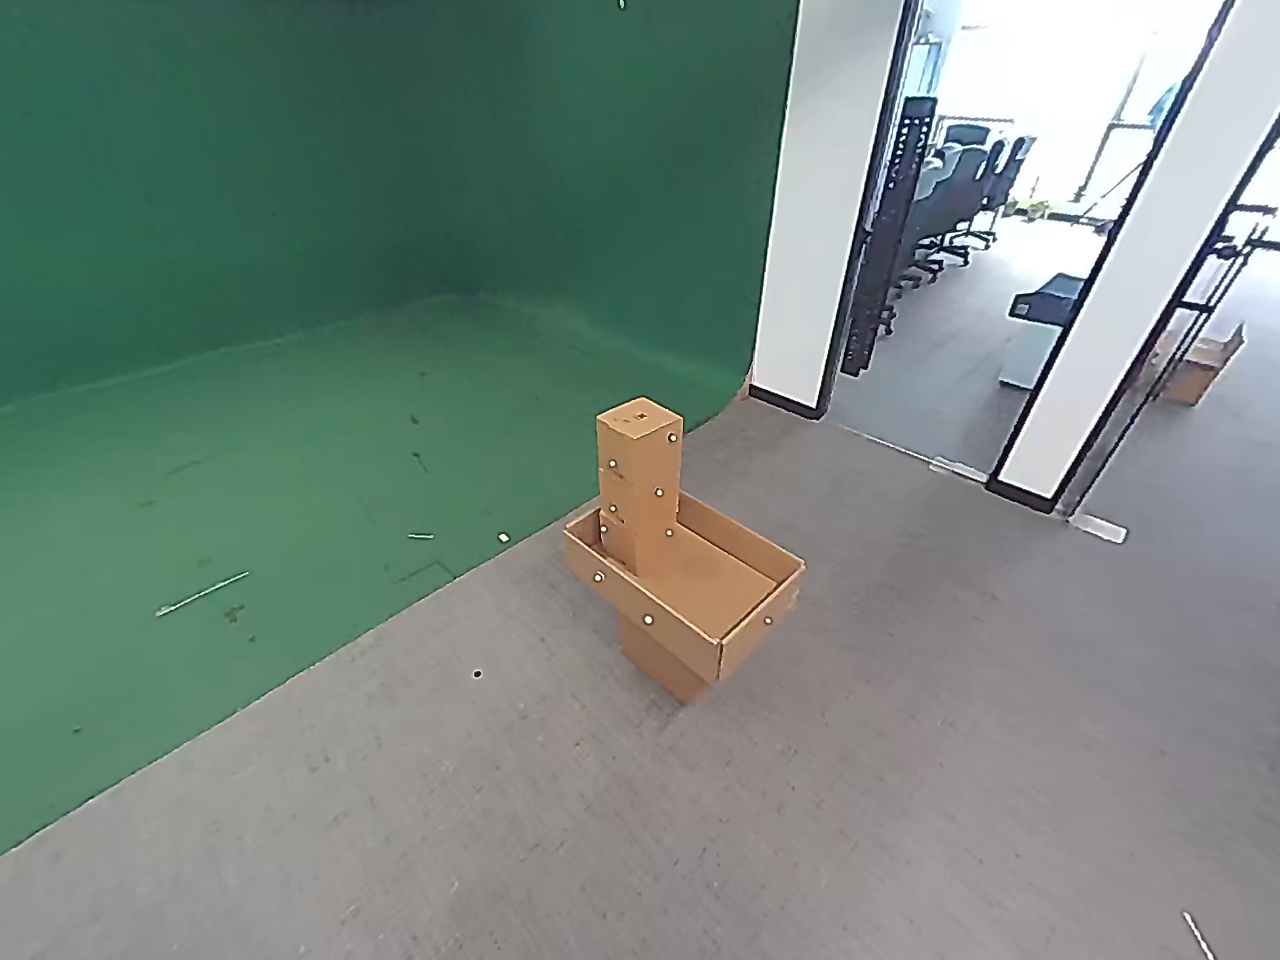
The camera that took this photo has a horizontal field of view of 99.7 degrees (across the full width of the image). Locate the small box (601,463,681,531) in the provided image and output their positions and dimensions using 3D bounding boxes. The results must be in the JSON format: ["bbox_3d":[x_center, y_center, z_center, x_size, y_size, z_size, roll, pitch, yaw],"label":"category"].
[{"bbox_3d":[0.001,0.019,1.606,0.179,0.176,0.168,-29,46,-33],"label":"small box"}]

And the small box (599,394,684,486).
[{"bbox_3d":[0.002,-0.113,1.508,0.179,0.176,0.168,-27,45,-31],"label":"small box"}]
